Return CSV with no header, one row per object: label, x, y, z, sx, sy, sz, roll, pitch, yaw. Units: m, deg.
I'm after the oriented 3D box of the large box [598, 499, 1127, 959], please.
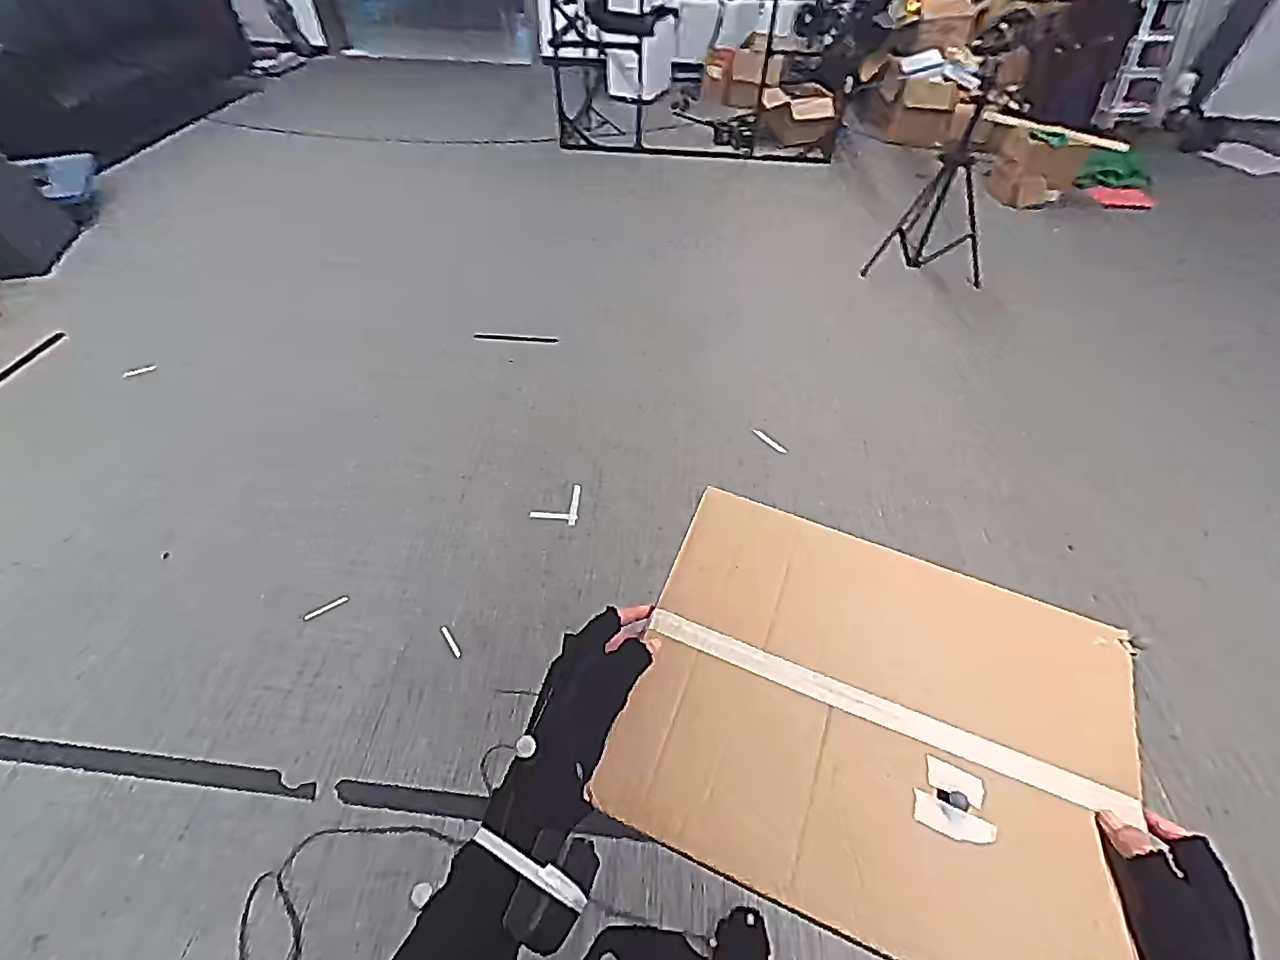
large box,0.199,0.278,0.600,0.408,0.320,0.320,20,61,12
